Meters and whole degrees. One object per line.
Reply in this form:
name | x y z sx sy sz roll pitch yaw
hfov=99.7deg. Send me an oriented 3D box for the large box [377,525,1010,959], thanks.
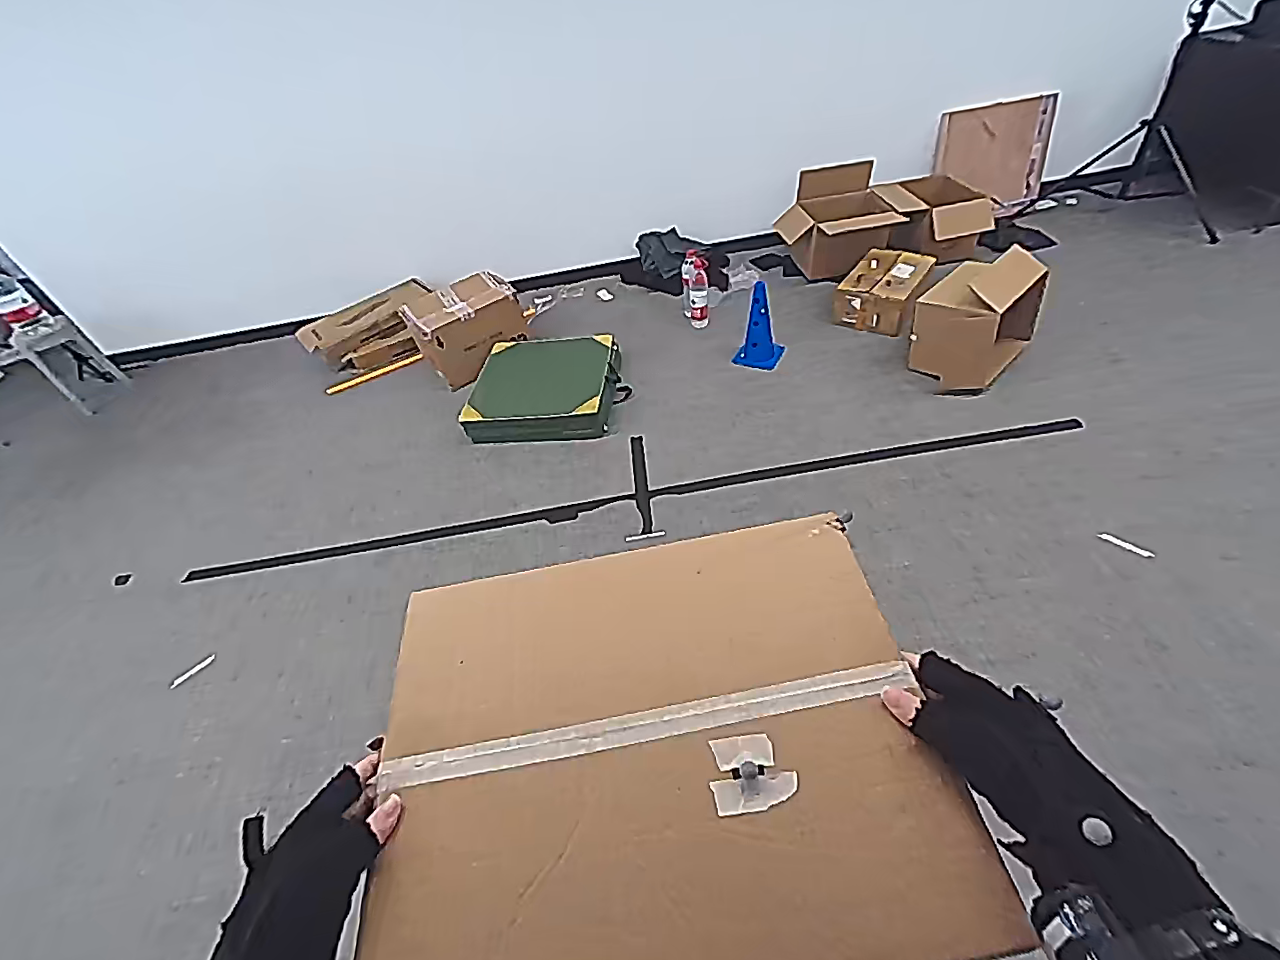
large box | 0.025 0.290 0.530 0.408 0.320 0.320 -11 49 -1
